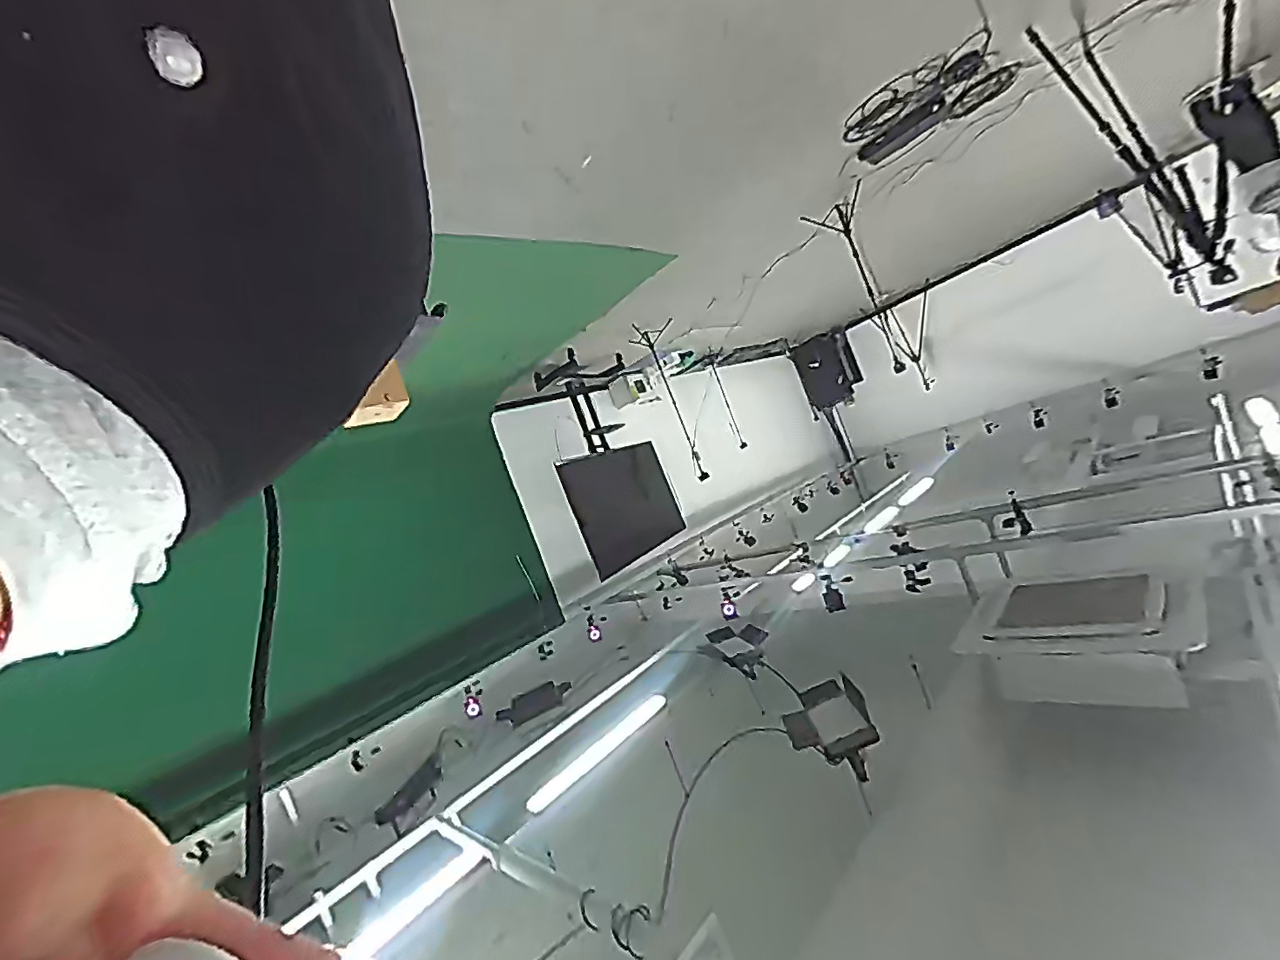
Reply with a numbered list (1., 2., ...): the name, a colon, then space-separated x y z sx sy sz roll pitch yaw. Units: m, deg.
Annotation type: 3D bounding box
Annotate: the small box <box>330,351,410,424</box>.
1. small box: -0.866 -0.297 1.726 0.168 0.176 0.179 -22 -178 -41
